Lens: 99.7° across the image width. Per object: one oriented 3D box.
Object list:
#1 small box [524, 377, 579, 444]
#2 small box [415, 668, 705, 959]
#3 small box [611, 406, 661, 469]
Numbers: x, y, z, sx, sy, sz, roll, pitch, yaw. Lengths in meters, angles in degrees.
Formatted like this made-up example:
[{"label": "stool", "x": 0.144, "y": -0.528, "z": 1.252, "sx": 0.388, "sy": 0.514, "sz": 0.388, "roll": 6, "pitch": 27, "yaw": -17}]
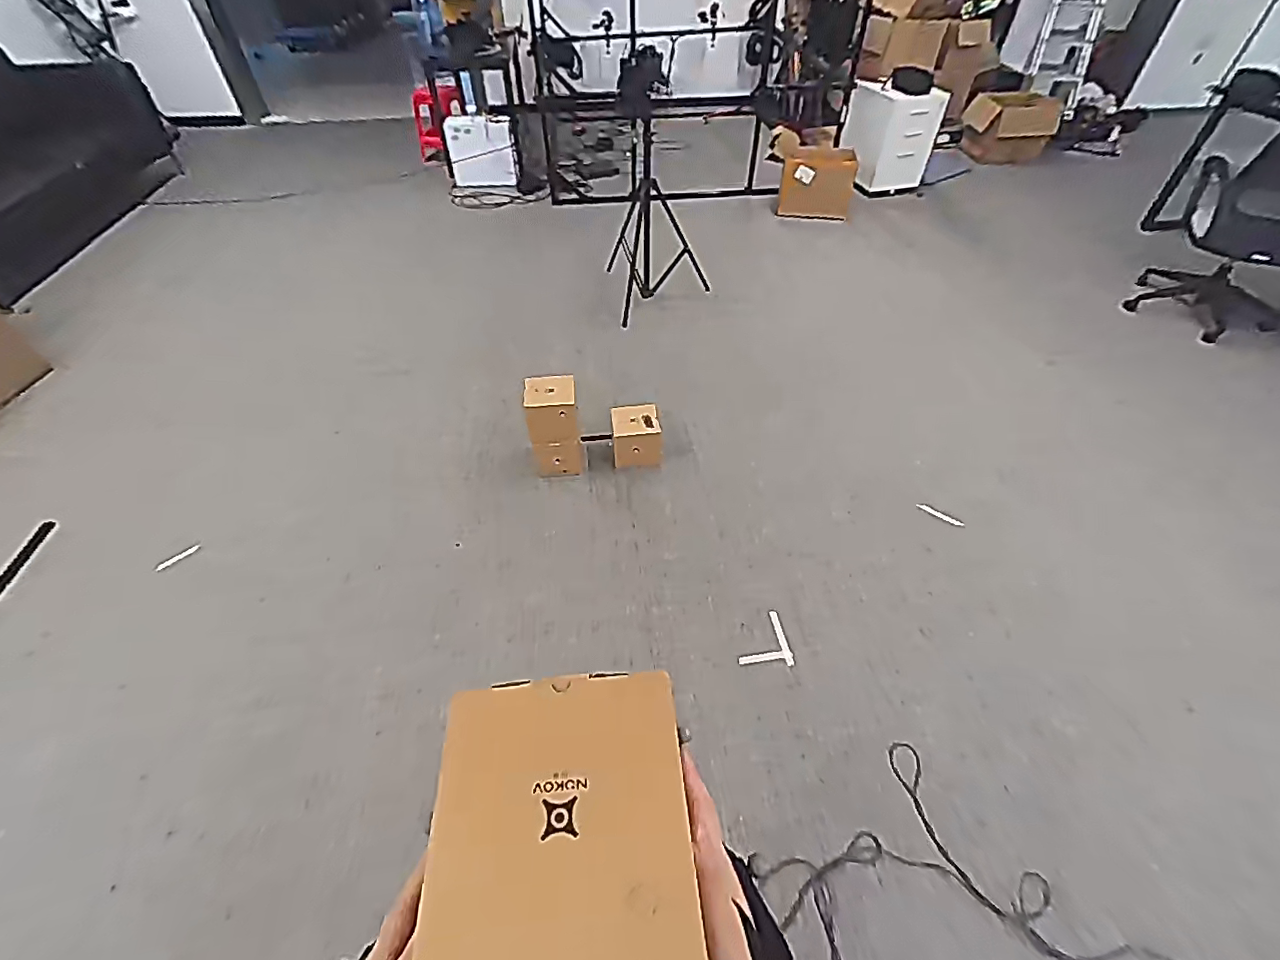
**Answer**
[{"label": "small box", "x": -0.312, "y": -0.246, "z": 1.929, "sx": 0.179, "sy": 0.176, "sz": 0.168, "roll": -5, "pitch": 46, "yaw": -4}, {"label": "small box", "x": -0.049, "y": 0.267, "z": 0.407, "sx": 0.168, "sy": 0.176, "sz": 0.179, "roll": -5, "pitch": 46, "yaw": -4}, {"label": "small box", "x": -0.017, "y": -0.162, "z": 2.072, "sx": 0.179, "sy": 0.176, "sz": 0.168, "roll": -6, "pitch": 48, "yaw": -3}]
